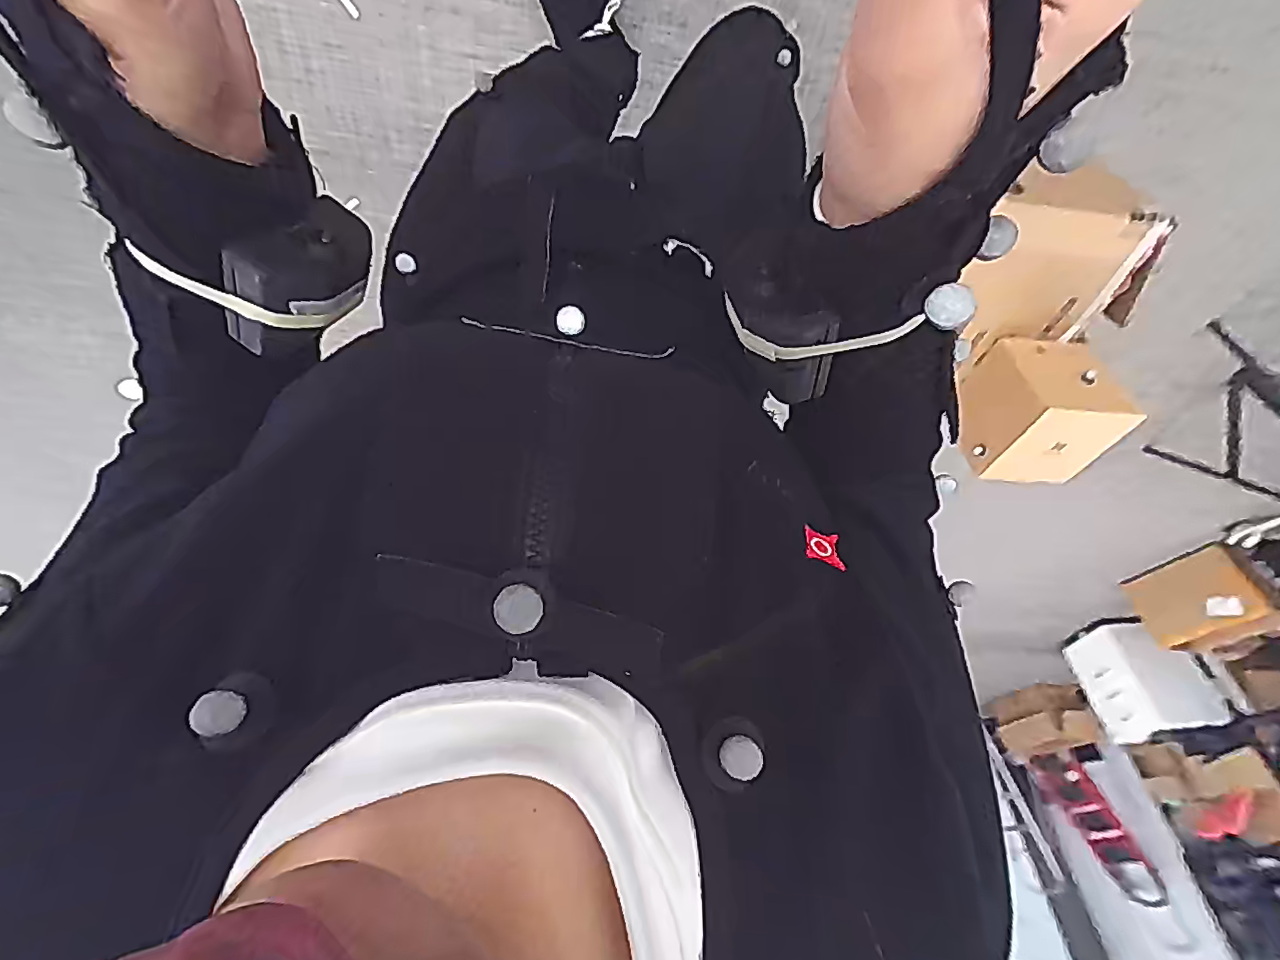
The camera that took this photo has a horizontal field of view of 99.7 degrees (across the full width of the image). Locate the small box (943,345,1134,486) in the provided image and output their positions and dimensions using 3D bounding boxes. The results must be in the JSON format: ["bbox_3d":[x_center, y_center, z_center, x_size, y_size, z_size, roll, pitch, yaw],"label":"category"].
[{"bbox_3d":[0.655,-0.109,0.920,0.168,0.176,0.179,3,144,-6],"label":"small box"}]
